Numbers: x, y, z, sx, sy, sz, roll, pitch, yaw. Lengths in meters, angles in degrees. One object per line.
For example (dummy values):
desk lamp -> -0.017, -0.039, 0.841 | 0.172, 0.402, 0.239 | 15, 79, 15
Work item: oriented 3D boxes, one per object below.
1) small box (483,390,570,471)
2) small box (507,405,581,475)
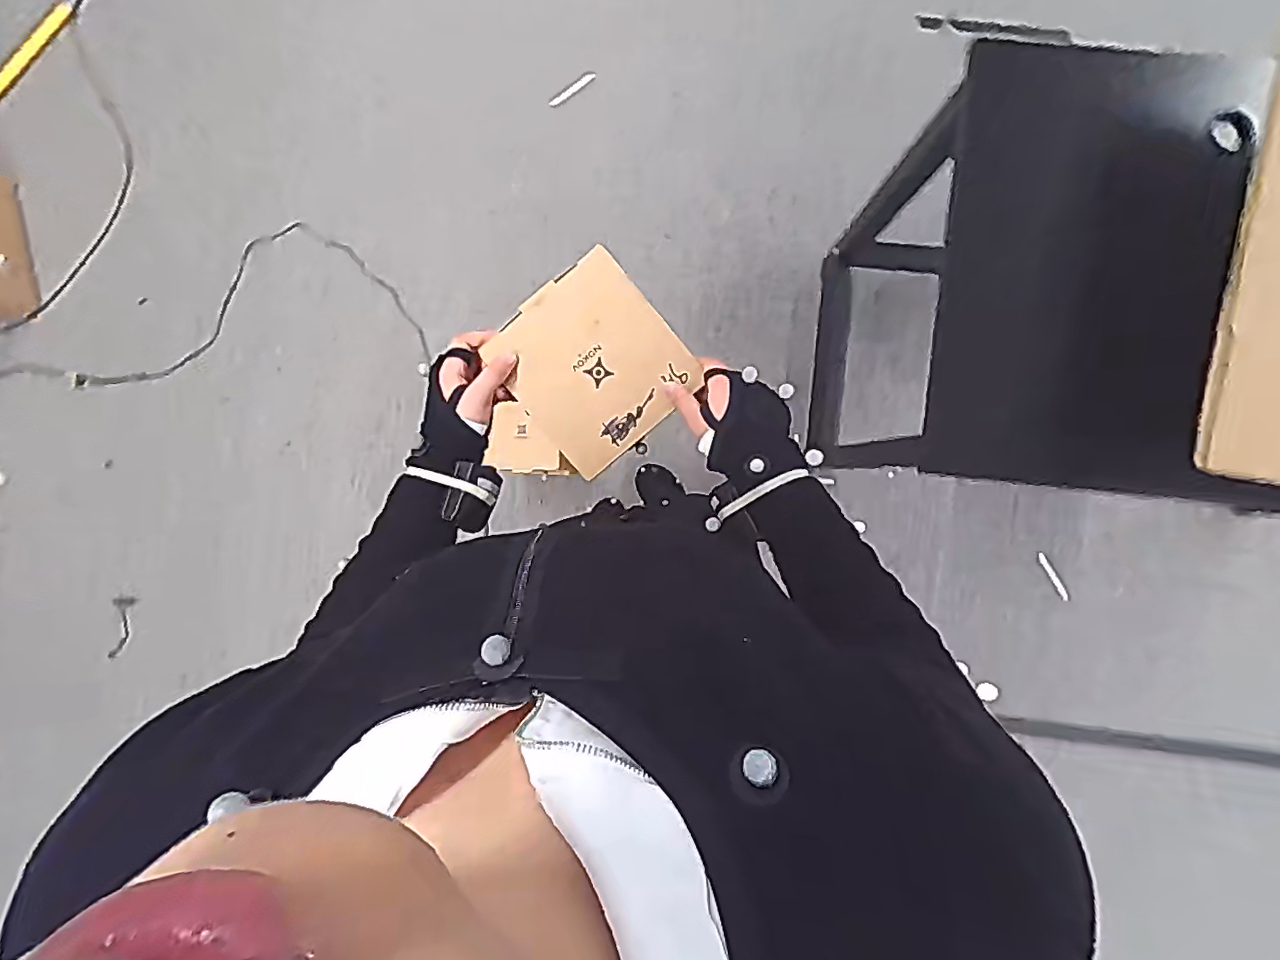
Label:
small box -> -0.259, -0.109, 1.266 | 0.168, 0.176, 0.179 | -2, 89, 1
small box -> -0.250, -0.104, 1.428 | 0.168, 0.176, 0.179 | 2, 92, 2
